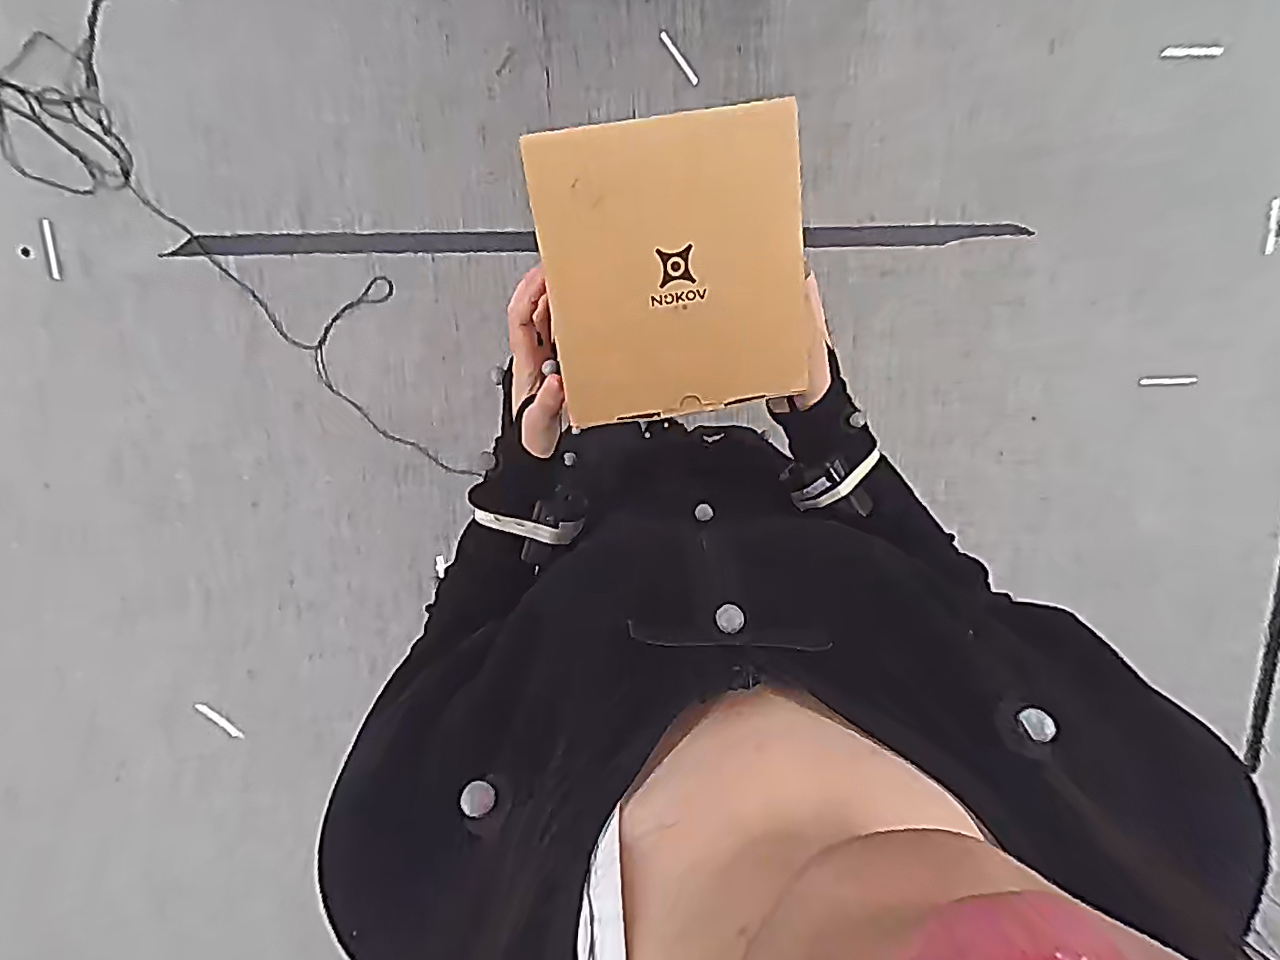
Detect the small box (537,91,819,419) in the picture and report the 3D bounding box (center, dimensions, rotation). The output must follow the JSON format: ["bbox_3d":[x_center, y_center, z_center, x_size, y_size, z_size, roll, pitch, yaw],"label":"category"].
[{"bbox_3d":[0.023,-0.158,0.413,0.168,0.176,0.179,-9,109,-1],"label":"small box"}]

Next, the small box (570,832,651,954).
[{"bbox_3d":[-0.065,0.963,1.274,0.179,0.176,0.168,-2,99,1],"label":"small box"}]
